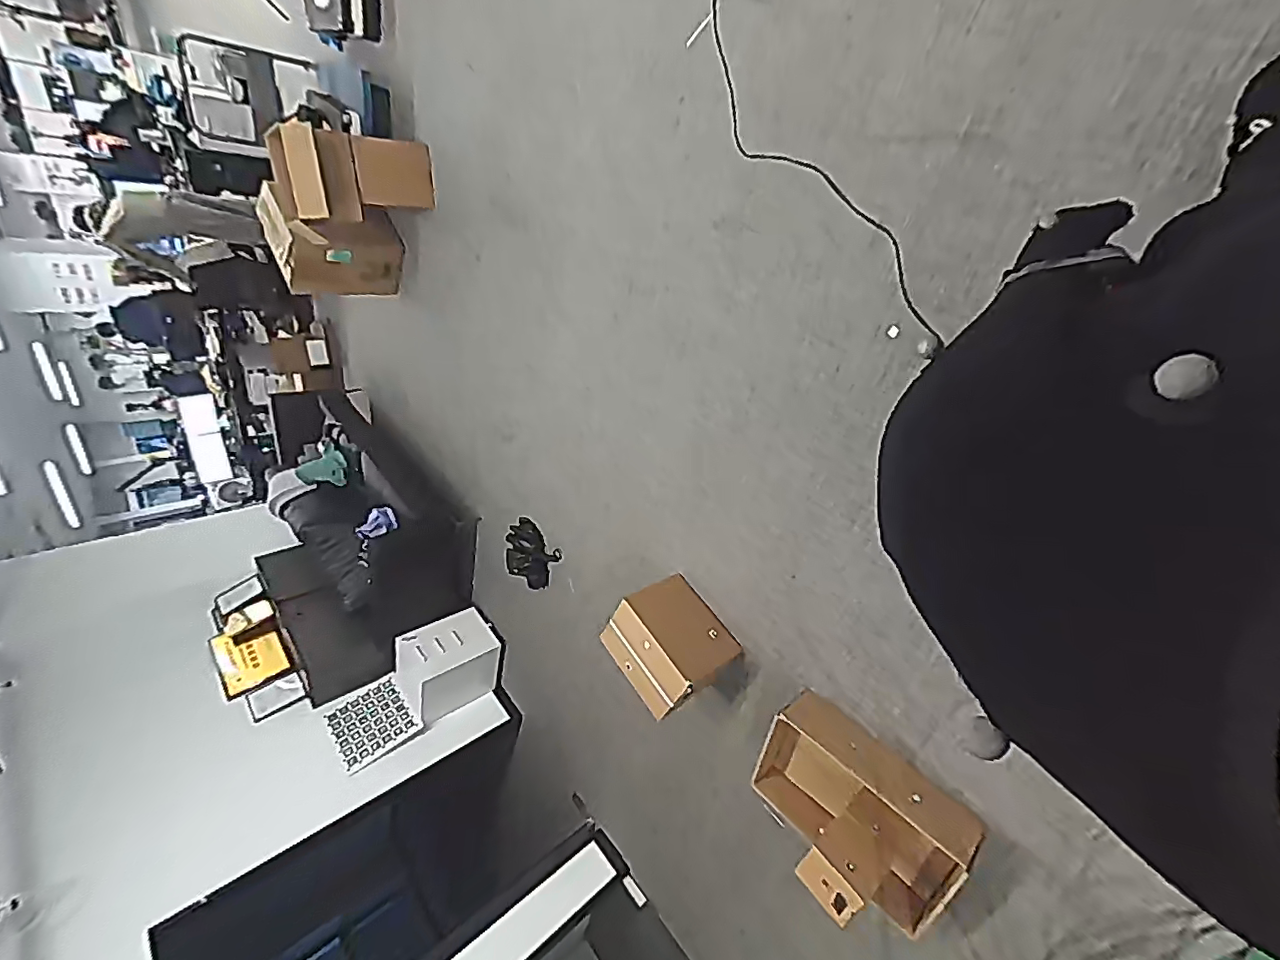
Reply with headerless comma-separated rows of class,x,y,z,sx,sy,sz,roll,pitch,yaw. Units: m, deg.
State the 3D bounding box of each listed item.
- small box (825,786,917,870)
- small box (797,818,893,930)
small box,0.722,1.106,1.684,0.179,0.176,0.168,41,130,36
small box,0.601,1.144,1.579,0.179,0.176,0.168,40,129,36
